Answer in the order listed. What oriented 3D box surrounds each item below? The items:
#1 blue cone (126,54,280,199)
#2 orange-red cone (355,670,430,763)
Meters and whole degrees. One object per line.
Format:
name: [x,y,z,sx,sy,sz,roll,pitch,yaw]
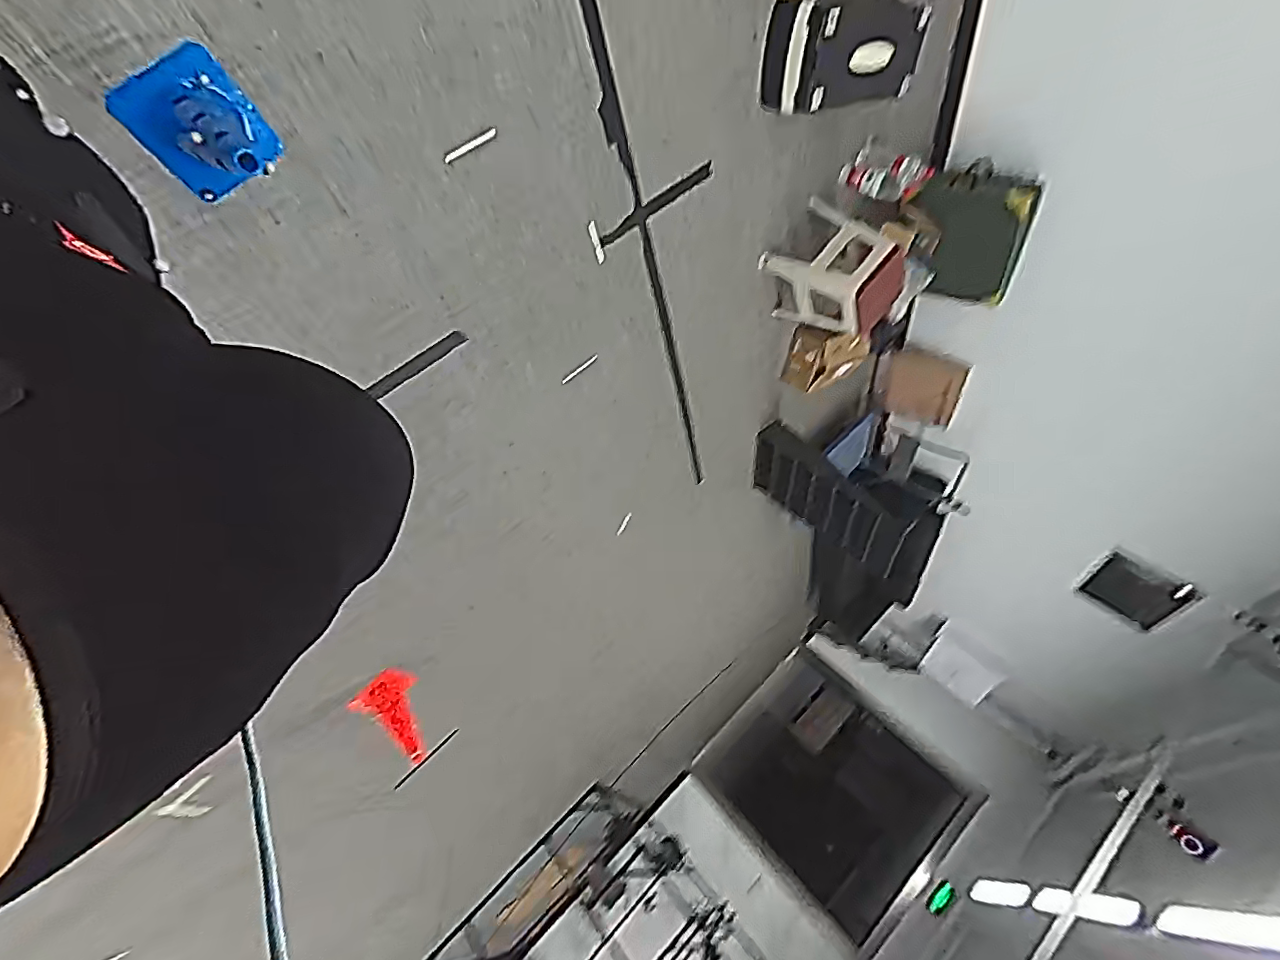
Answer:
blue cone: [-0.705,-0.578,0.928,0.193,0.380,0.192,-44,146,-11]
orange-red cone: [-0.923,0.957,2.124,0.199,0.360,0.198,-45,147,-12]
